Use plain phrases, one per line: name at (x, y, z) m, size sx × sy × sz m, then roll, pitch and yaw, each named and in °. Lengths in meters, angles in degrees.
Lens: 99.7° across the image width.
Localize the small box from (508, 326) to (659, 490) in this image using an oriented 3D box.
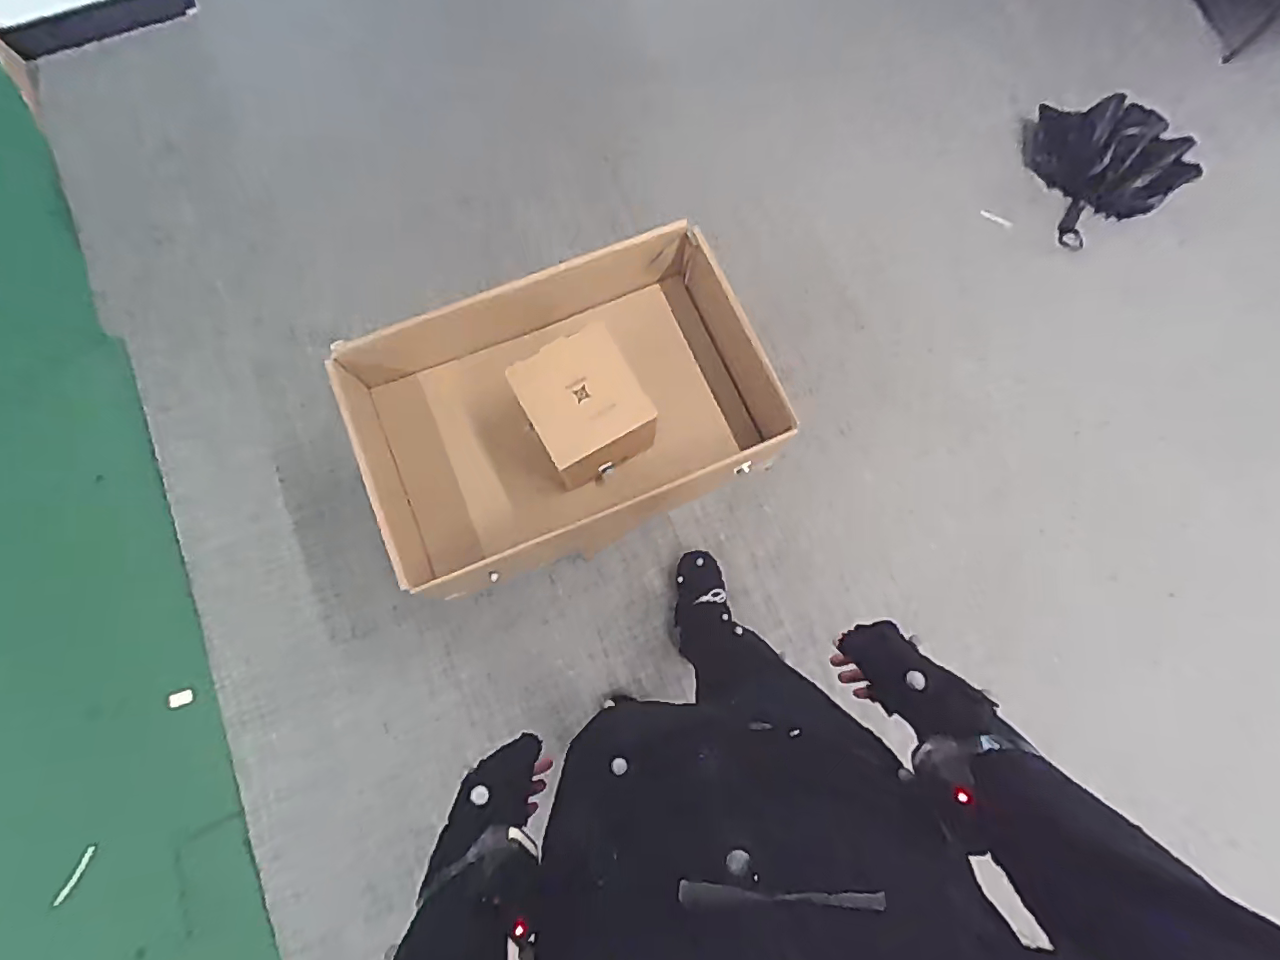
small box at (-0.085, -0.105, 0.863) m, size 0.168 × 0.176 × 0.179 m, roll -29°, pitch 80°, yaw -6°
